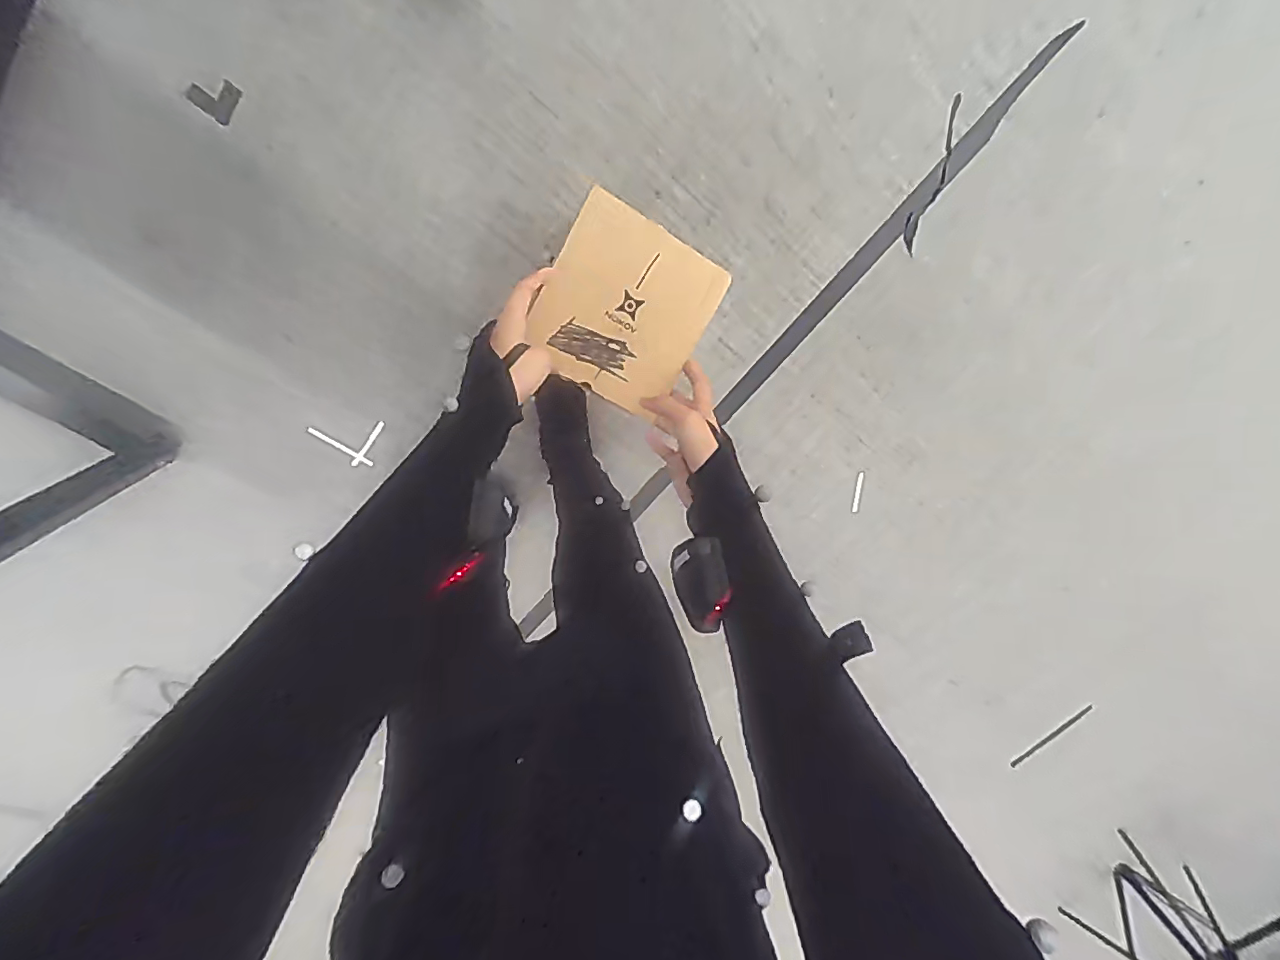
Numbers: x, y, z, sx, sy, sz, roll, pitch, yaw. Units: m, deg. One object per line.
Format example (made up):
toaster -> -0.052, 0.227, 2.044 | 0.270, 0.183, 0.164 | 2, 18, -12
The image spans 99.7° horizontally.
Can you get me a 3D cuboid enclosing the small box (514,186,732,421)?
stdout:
small box -> -0.026, -0.198, 0.621 | 0.168, 0.176, 0.179 | 26, 106, -18
